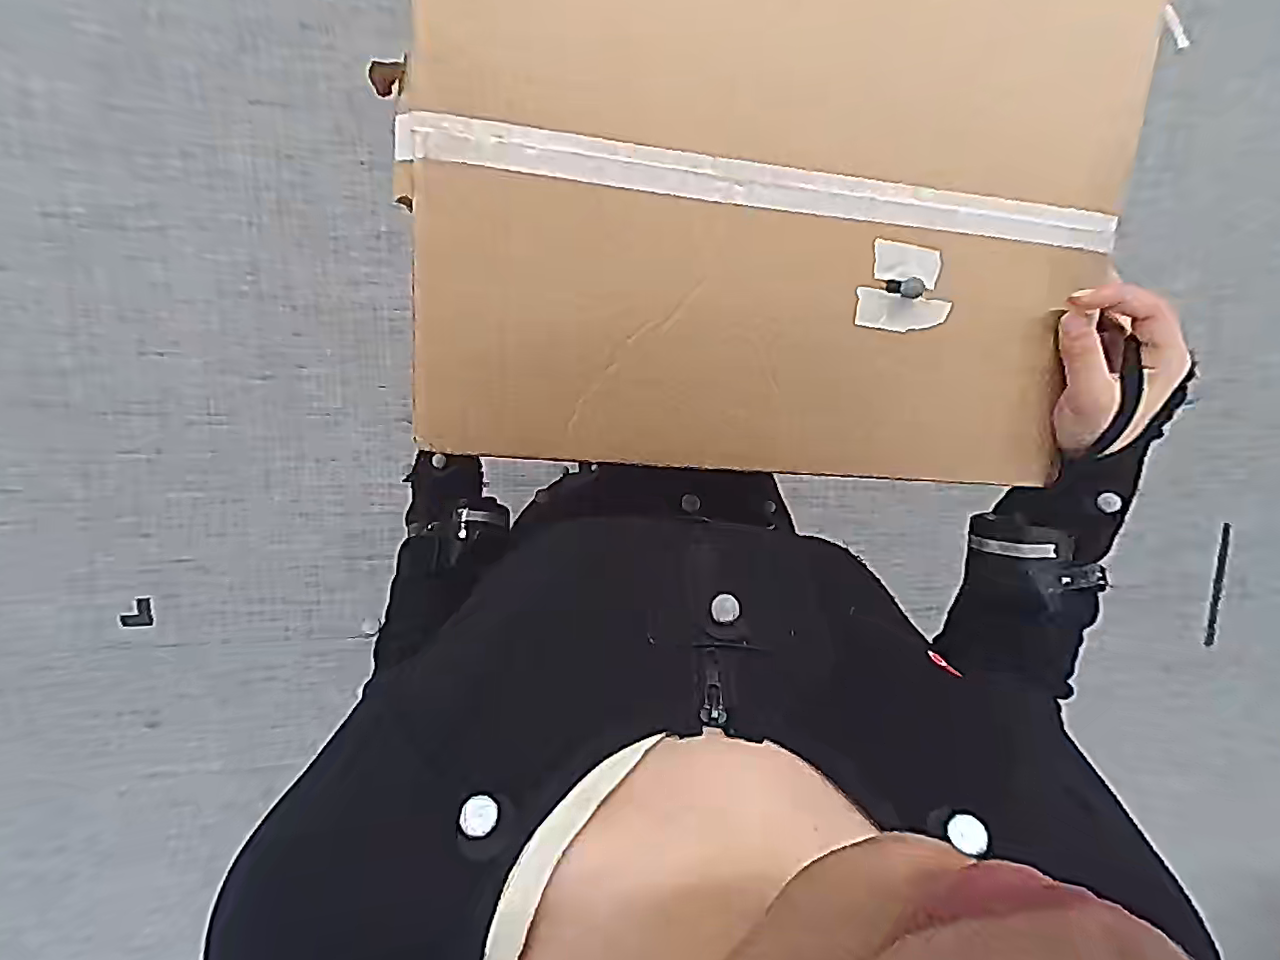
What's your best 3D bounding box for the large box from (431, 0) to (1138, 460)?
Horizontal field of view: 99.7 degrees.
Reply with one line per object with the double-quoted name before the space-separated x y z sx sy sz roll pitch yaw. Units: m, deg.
"large box" 0.062 -0.198 0.449 0.408 0.320 0.320 3 102 -11
